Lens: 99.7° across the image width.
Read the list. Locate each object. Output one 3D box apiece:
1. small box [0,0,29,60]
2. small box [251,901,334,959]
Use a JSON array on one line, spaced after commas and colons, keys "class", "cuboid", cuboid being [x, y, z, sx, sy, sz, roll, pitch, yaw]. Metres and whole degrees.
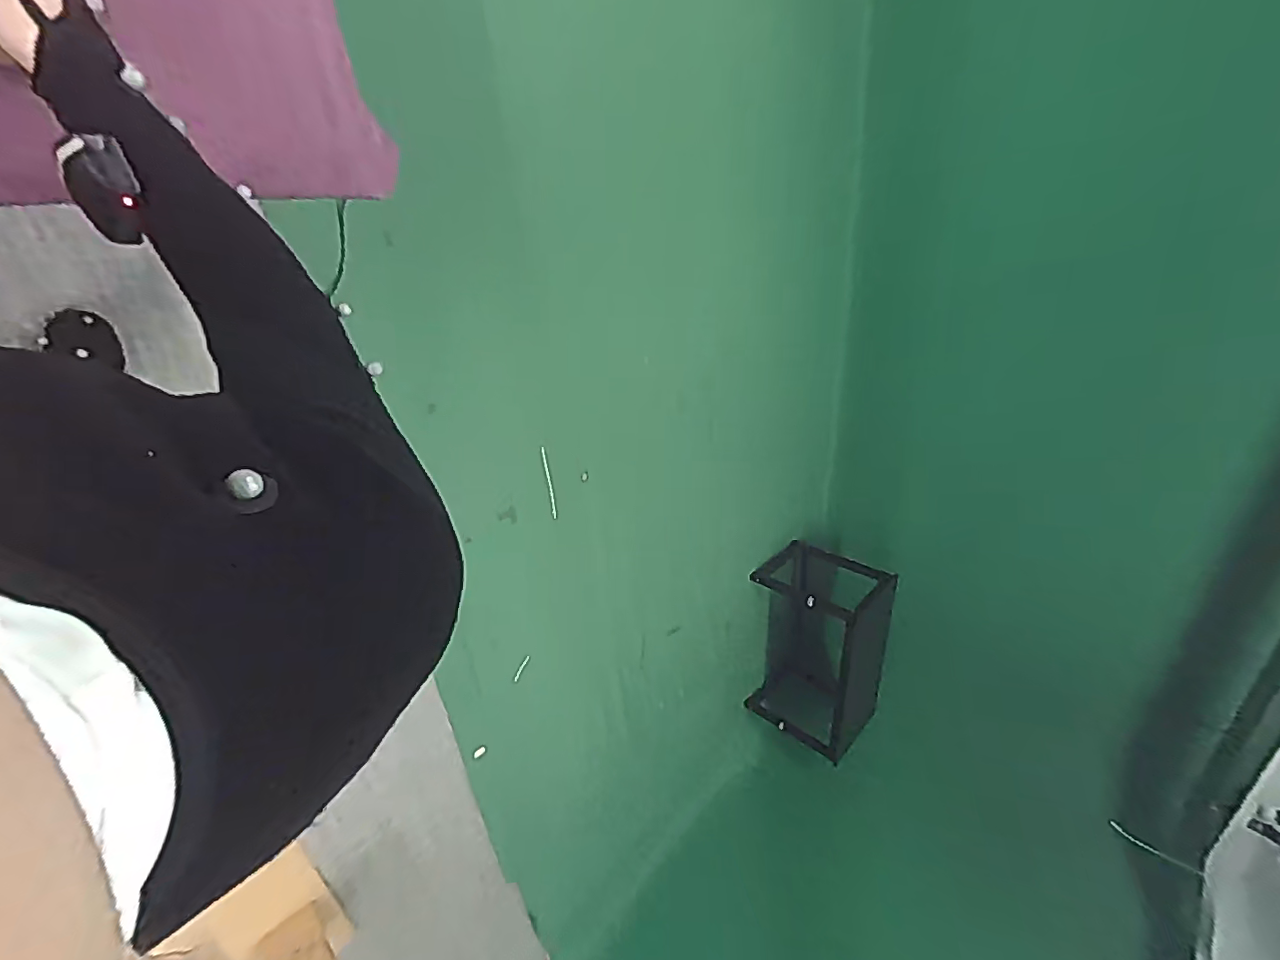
[{"class": "small box", "cuboid": [-0.629, -0.476, 0.426, 0.179, 0.176, 0.168, -14, 106, -44]}, {"class": "small box", "cuboid": [-1.147, 1.557, 1.785, 0.179, 0.176, 0.168, -23, 121, -39]}]
